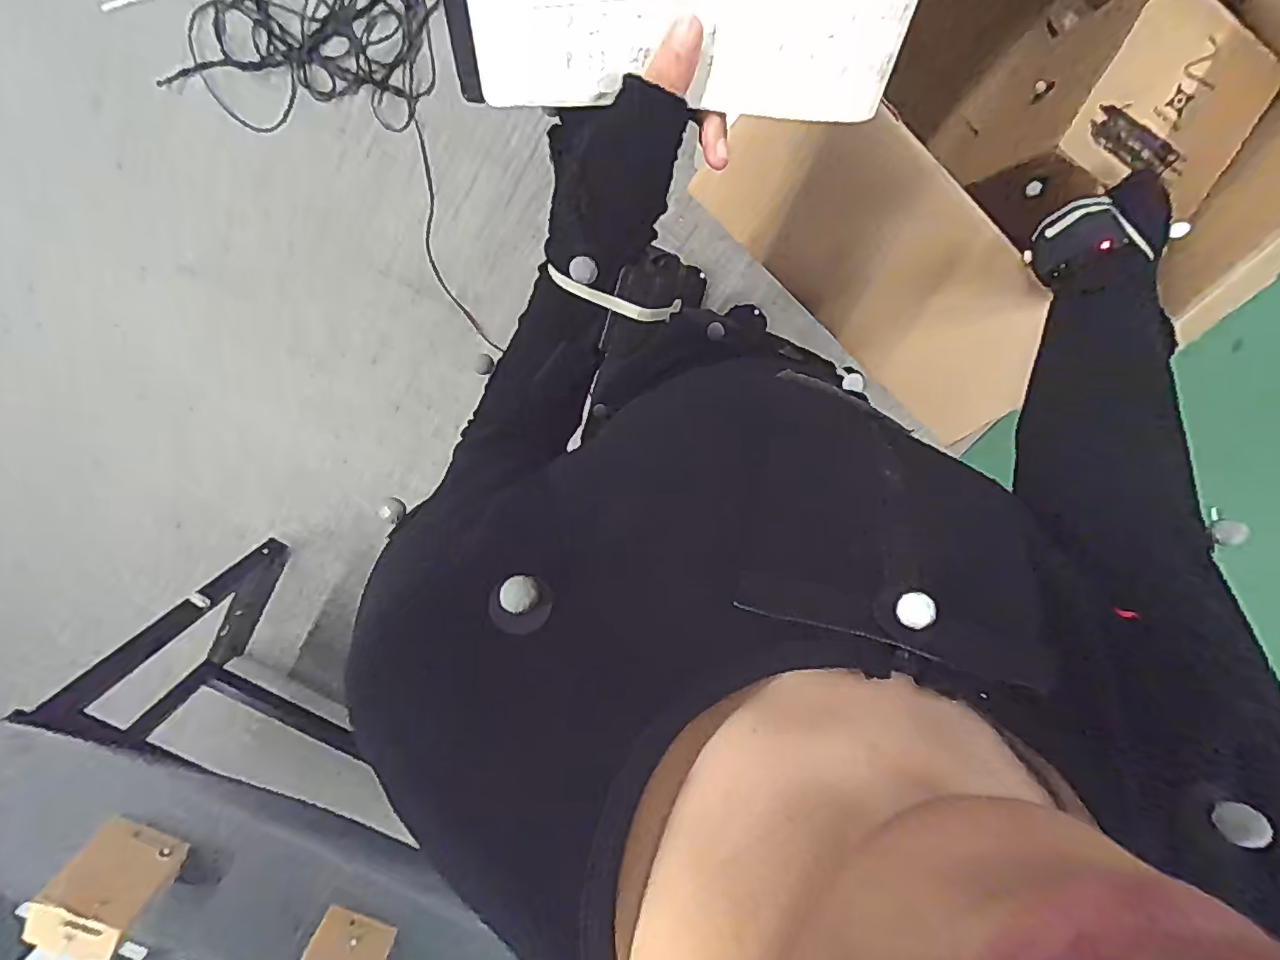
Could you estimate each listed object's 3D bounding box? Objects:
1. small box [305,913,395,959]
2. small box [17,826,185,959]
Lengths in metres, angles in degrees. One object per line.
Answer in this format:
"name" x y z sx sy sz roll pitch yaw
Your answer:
"small box" -0.670 1.109 1.187 0.168 0.176 0.179 29 112 -9
"small box" -1.088 0.854 1.104 0.168 0.176 0.179 32 112 -10
